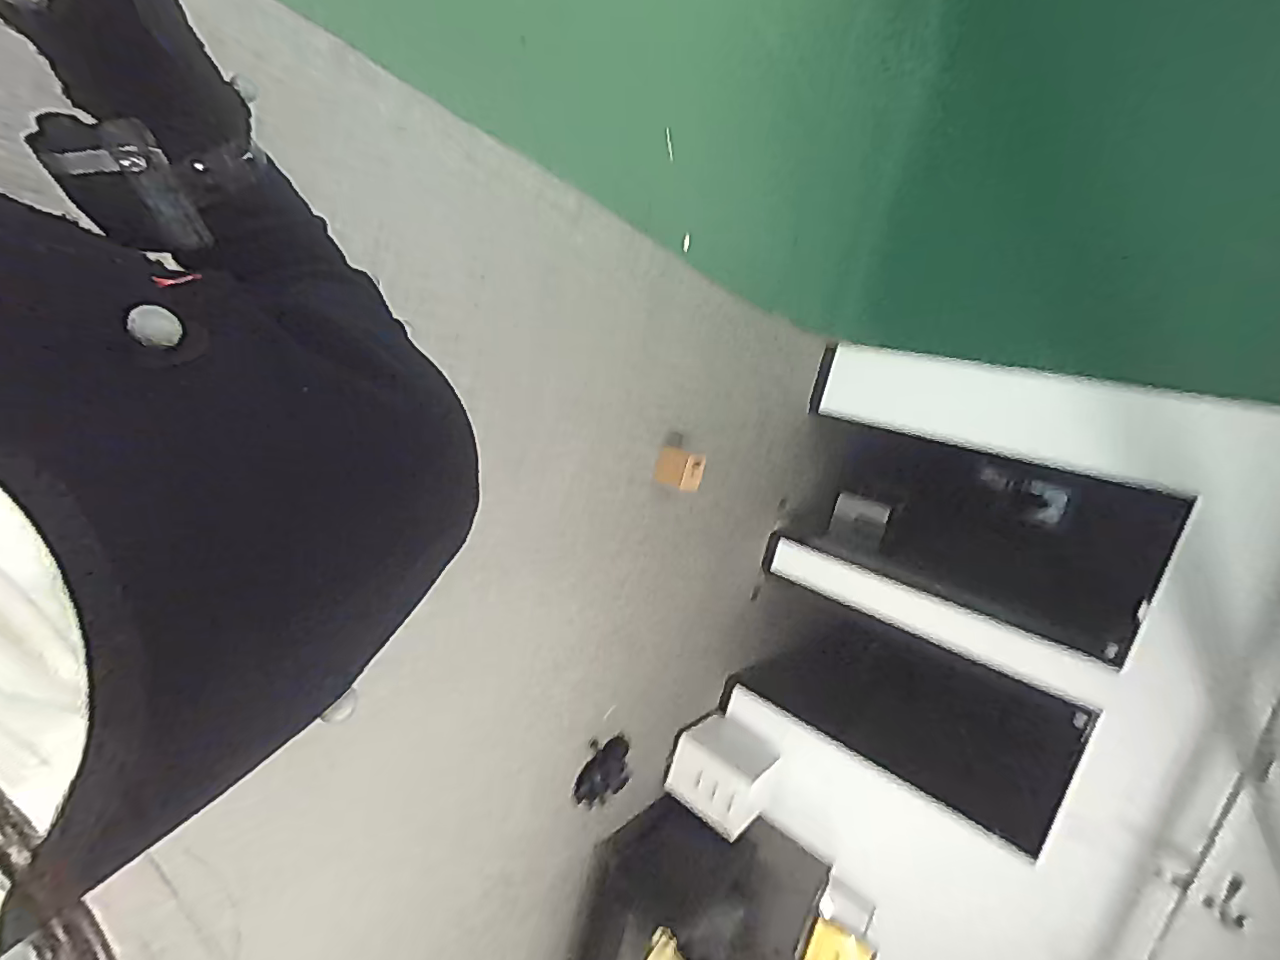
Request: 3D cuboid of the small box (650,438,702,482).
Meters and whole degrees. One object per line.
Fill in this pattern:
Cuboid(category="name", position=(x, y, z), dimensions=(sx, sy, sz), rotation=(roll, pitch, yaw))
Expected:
Cuboid(category="small box", position=(0.172, -0.097, 2.619), dimensions=(0.168, 0.176, 0.179), rotation=(3, 105, -53))
